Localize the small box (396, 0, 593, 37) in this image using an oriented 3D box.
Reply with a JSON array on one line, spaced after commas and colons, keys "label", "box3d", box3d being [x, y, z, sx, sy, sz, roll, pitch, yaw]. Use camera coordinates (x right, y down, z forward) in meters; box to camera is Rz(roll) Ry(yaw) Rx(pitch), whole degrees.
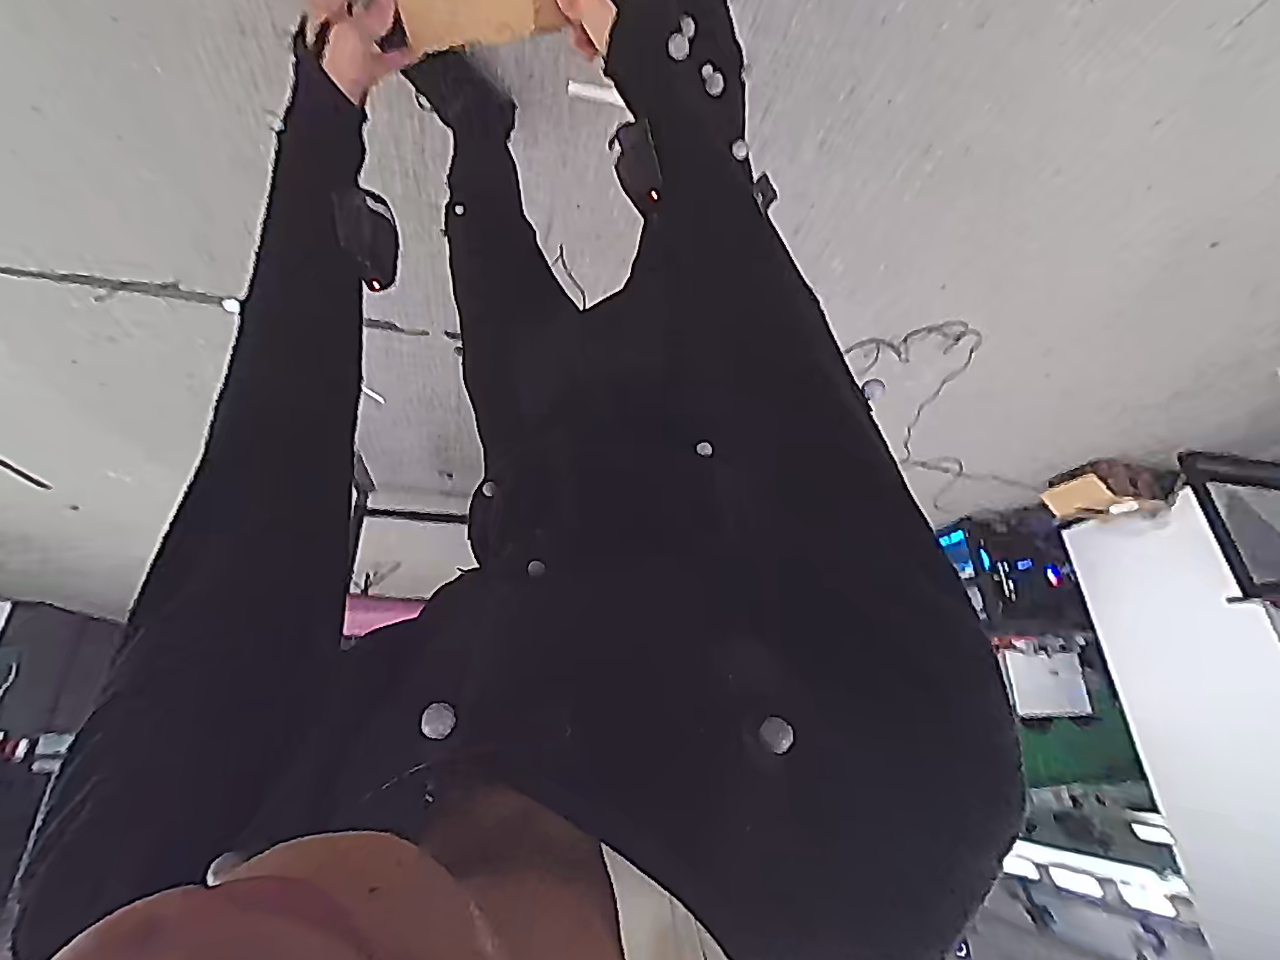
[{"label": "small box", "box3d": [-0.147, -0.505, 0.438, 0.168, 0.176, 0.179, -16, 147, -7]}]
